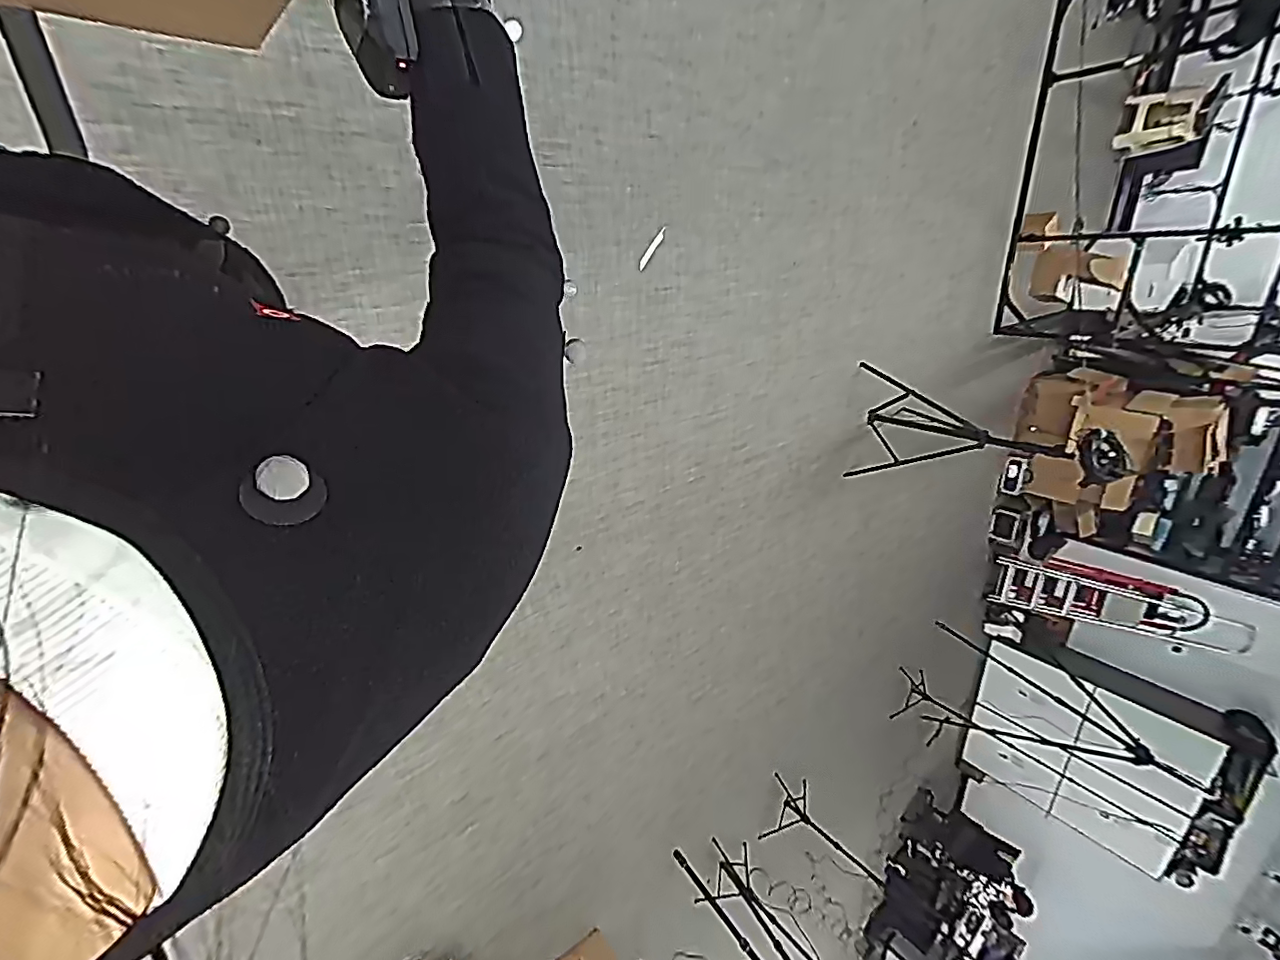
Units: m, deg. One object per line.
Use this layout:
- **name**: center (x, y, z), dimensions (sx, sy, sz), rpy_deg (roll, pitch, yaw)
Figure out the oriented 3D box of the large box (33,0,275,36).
- **large box**: center (-0.413, -0.442, 0.222), dimensions (0.408, 0.320, 0.320), rpy_deg (-19, 124, -36)
